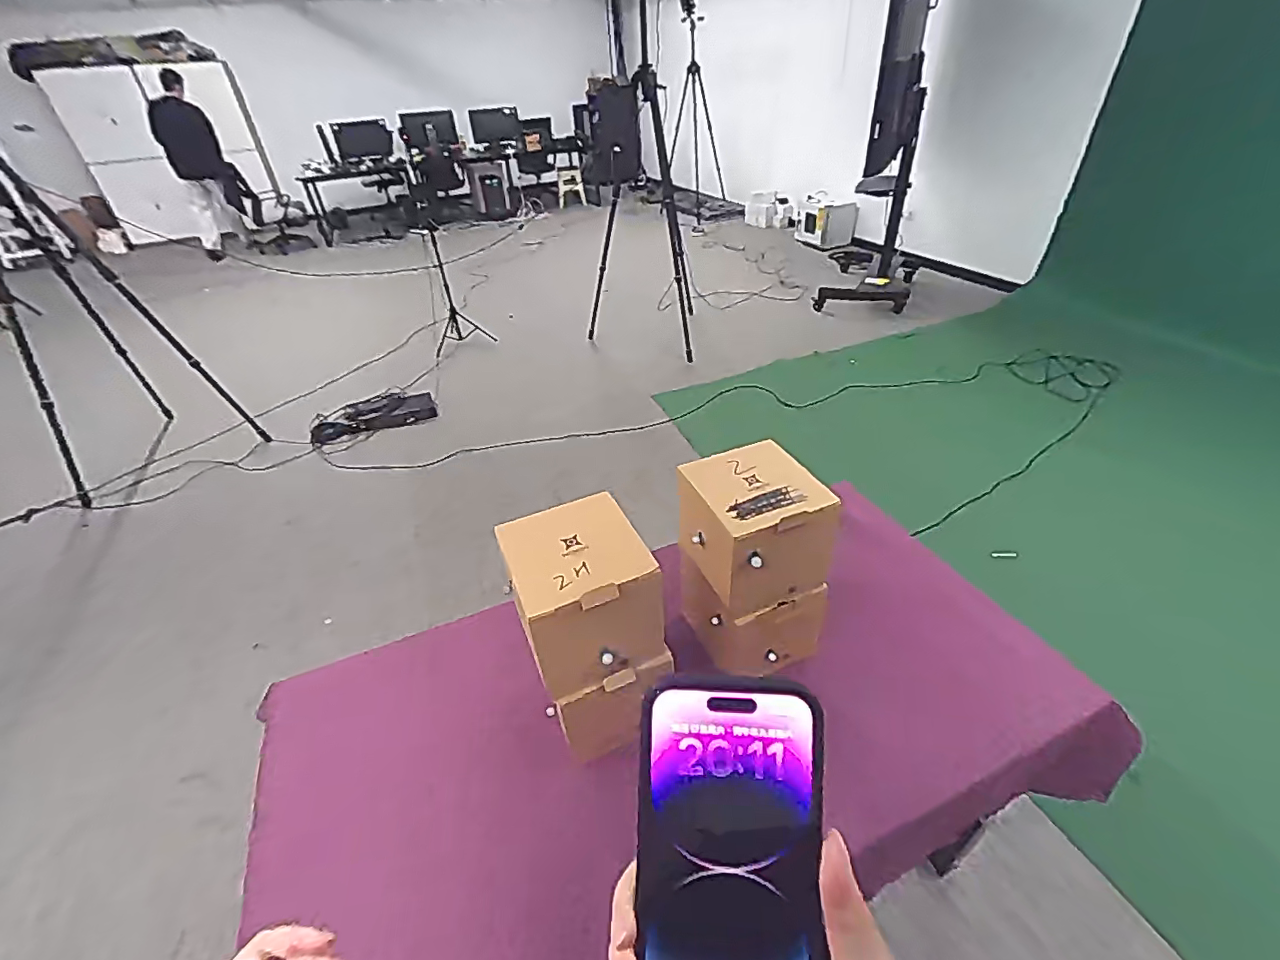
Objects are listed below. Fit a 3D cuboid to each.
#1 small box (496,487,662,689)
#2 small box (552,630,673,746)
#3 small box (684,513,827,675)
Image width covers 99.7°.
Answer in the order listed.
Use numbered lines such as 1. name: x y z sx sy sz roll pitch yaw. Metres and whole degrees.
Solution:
1. small box: -0.081 0.141 0.731 0.168 0.176 0.179 -19 40 -17
2. small box: -0.056 0.274 0.827 0.168 0.176 0.179 -18 39 -17
3. small box: 0.182 0.189 0.909 0.168 0.176 0.179 -18 41 -17
